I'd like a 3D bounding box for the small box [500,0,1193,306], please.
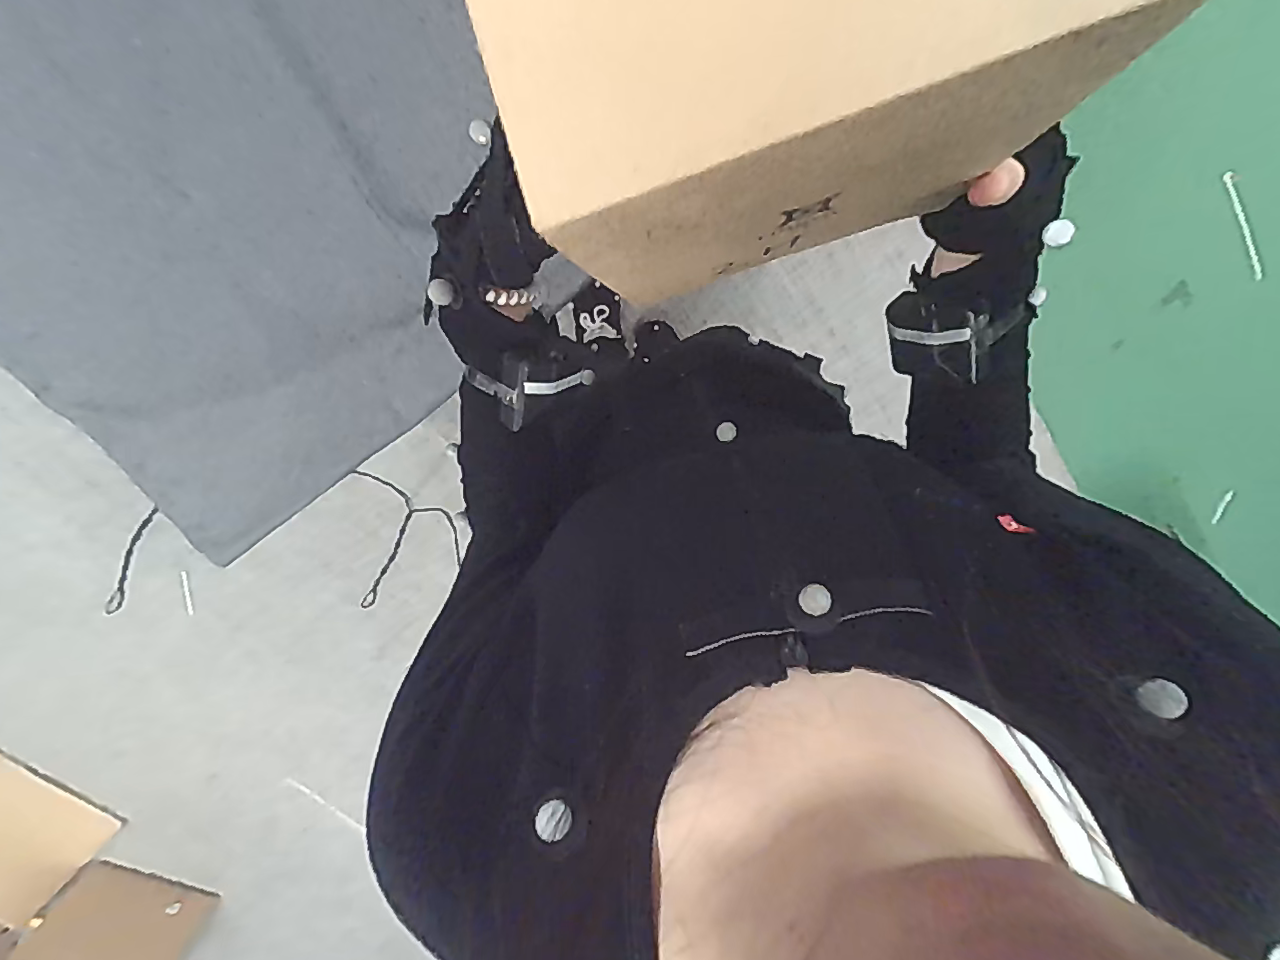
[{"bbox_3d":[0.042,-0.184,0.198,0.168,0.179,0.176,-14,98,11],"label":"small box"}]
